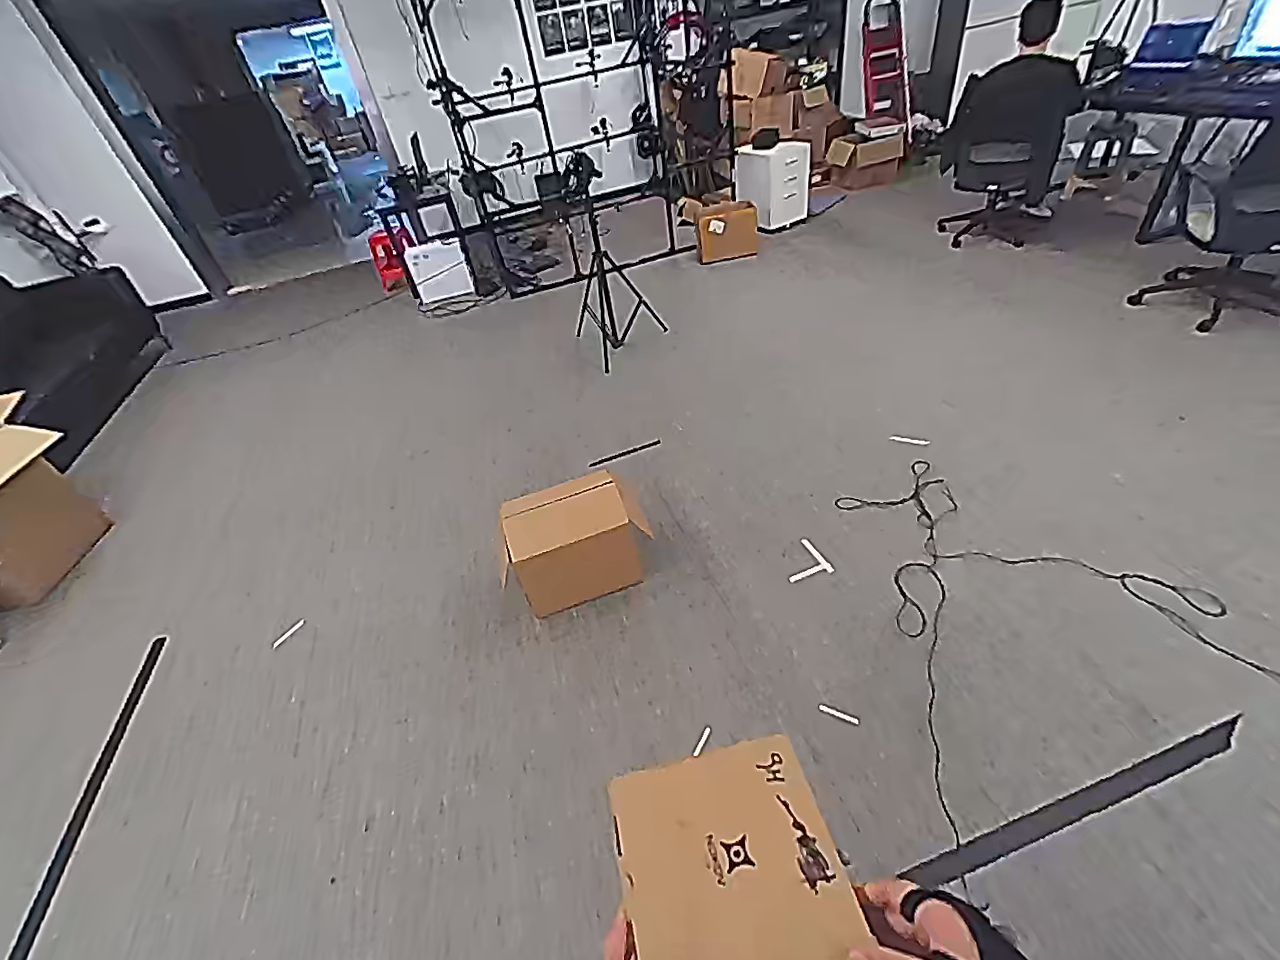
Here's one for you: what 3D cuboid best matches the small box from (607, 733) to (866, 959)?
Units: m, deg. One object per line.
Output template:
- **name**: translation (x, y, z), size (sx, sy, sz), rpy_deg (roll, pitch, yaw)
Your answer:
- **small box**: translation (0.079, 0.370, 0.498), size (0.179, 0.176, 0.168), rpy_deg (-13, 40, -4)
